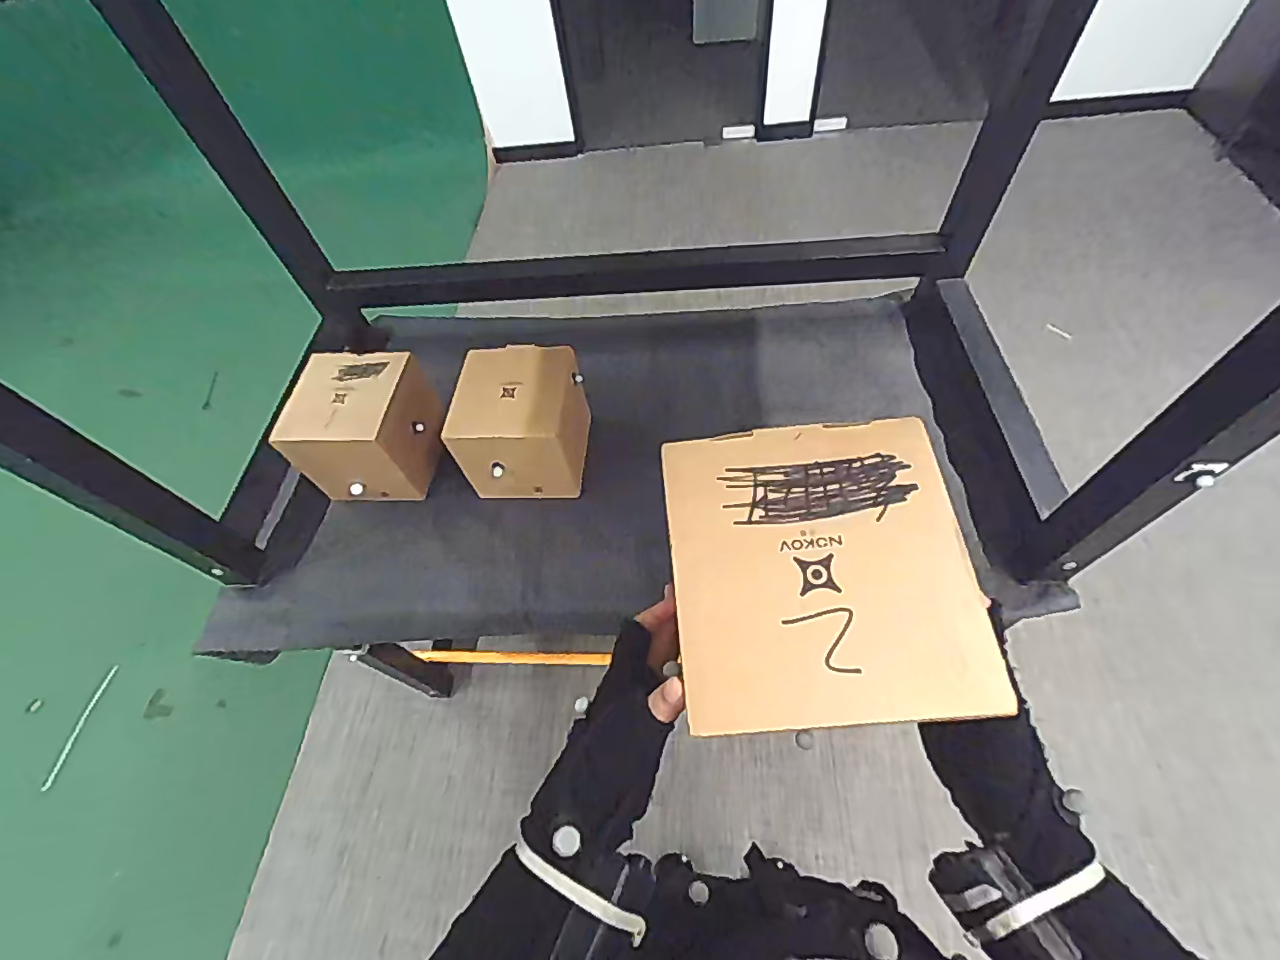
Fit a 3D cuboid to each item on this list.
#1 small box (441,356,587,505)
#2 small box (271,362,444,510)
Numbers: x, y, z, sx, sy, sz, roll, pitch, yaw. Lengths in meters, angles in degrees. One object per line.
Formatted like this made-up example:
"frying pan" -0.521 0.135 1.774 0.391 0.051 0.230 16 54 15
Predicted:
"small box" -0.184 -0.072 0.851 0.168 0.176 0.179 0 56 6
"small box" -0.435 -0.070 0.874 0.168 0.176 0.179 0 57 6
